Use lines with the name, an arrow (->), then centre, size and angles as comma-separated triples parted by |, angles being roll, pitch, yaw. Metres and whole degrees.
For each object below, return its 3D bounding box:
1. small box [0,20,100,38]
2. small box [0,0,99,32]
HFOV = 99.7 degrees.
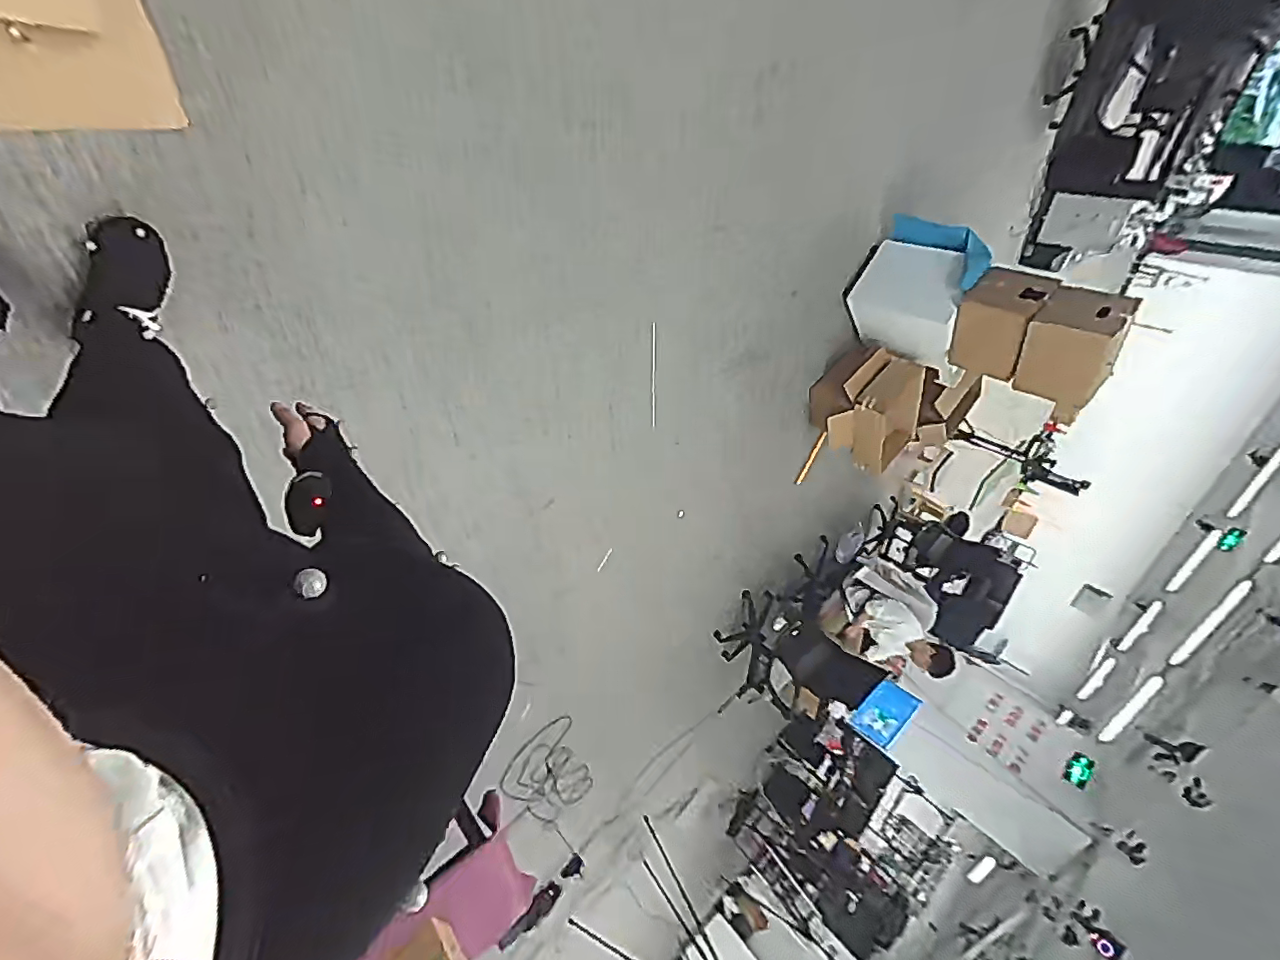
small box -> -0.950, -0.765, 0.791 | 0.179, 0.176, 0.168 | -24, 132, -36
small box -> -0.842, -0.695, 0.690 | 0.179, 0.176, 0.168 | -21, 131, -37
